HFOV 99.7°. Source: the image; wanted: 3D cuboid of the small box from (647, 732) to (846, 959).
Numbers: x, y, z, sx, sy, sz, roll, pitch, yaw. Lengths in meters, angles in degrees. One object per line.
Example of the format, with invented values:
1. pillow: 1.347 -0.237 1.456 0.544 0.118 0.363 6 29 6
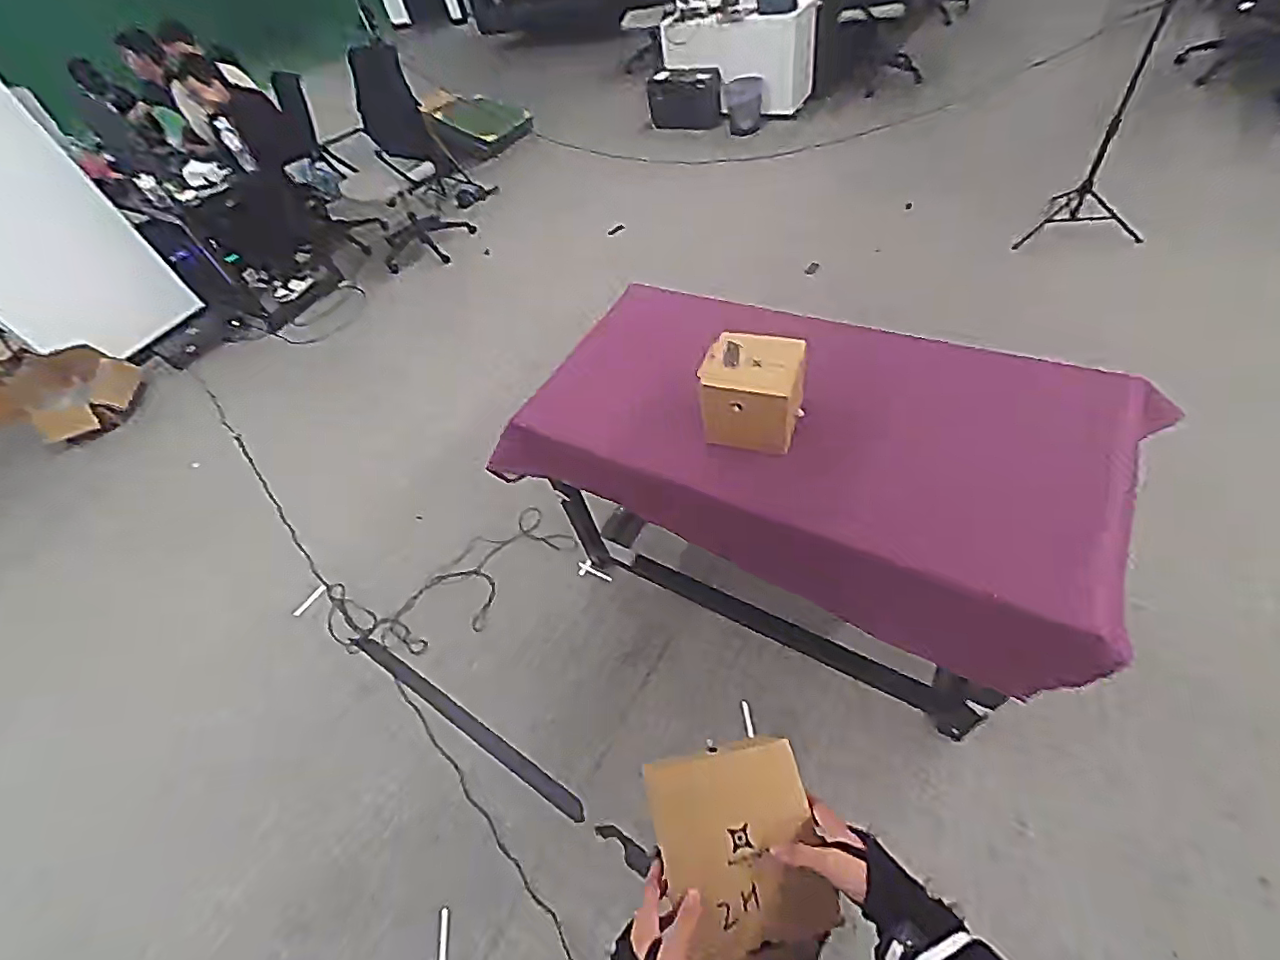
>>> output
1. small box: 0.105 0.408 0.631 0.168 0.176 0.179 -12 66 -6

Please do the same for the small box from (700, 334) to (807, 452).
1. small box: 0.237 -0.178 1.116 0.179 0.176 0.168 11 56 21
